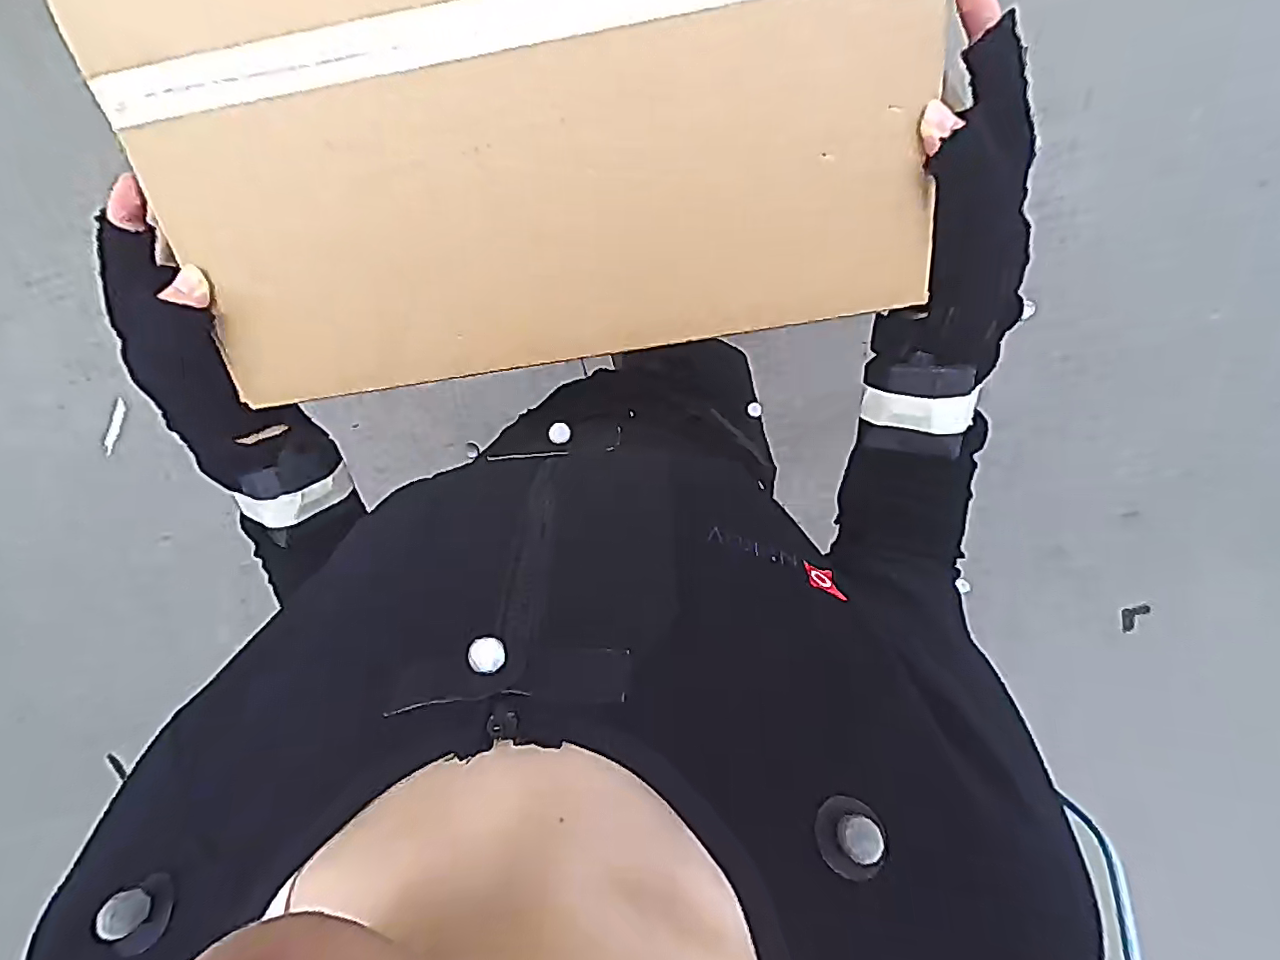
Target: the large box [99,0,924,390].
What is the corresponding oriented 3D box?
[{"bbox_3d":[-0.062,-0.282,0.402,0.408,0.320,0.320,-8,114,4],"label":"large box"}]
